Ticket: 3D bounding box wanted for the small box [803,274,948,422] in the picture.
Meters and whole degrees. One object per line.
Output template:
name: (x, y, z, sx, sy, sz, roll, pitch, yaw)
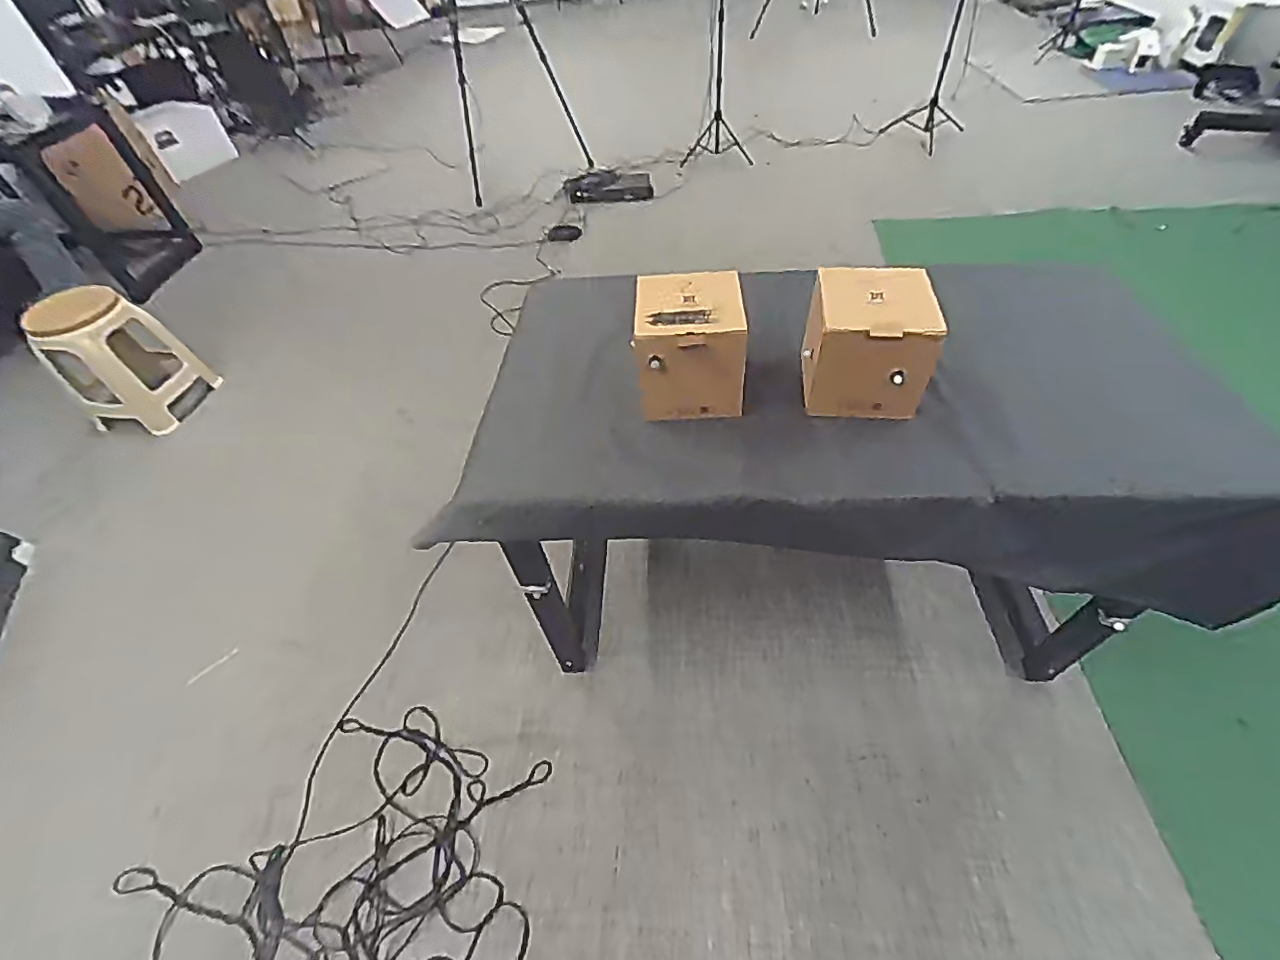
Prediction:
small box: (0.362, -0.210, 0.867, 0.168, 0.176, 0.179, 4, 49, 8)
